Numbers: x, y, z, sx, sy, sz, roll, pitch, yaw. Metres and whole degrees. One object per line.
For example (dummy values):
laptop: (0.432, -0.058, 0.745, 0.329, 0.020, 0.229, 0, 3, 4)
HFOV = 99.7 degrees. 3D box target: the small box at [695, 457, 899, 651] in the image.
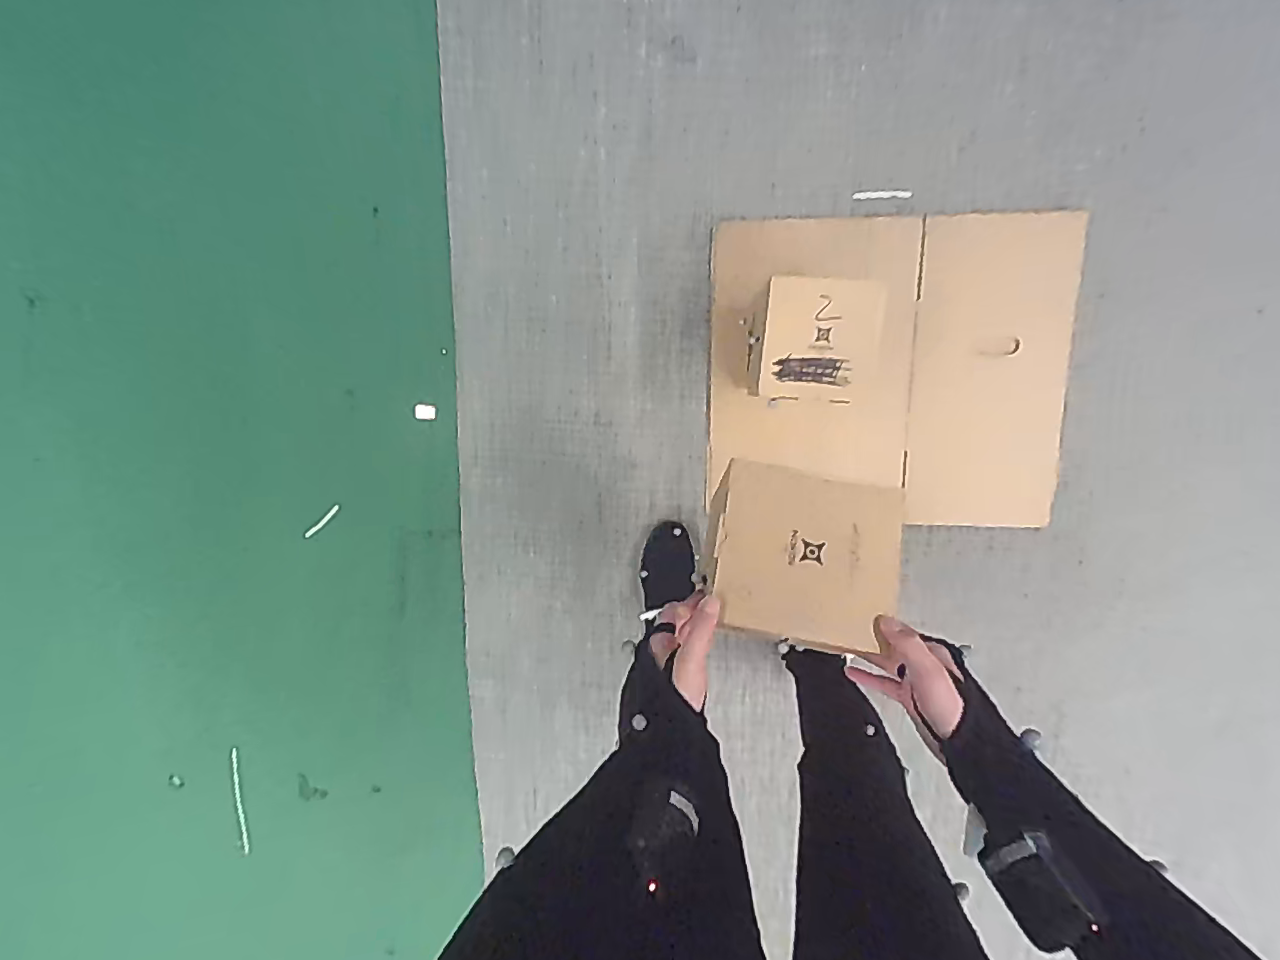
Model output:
small box: (0.162, 0.090, 0.606, 0.179, 0.176, 0.168, 11, 75, 4)

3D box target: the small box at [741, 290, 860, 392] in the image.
small box: (0.289, -0.253, 1.016, 0.179, 0.176, 0.168, 5, 101, 5)
